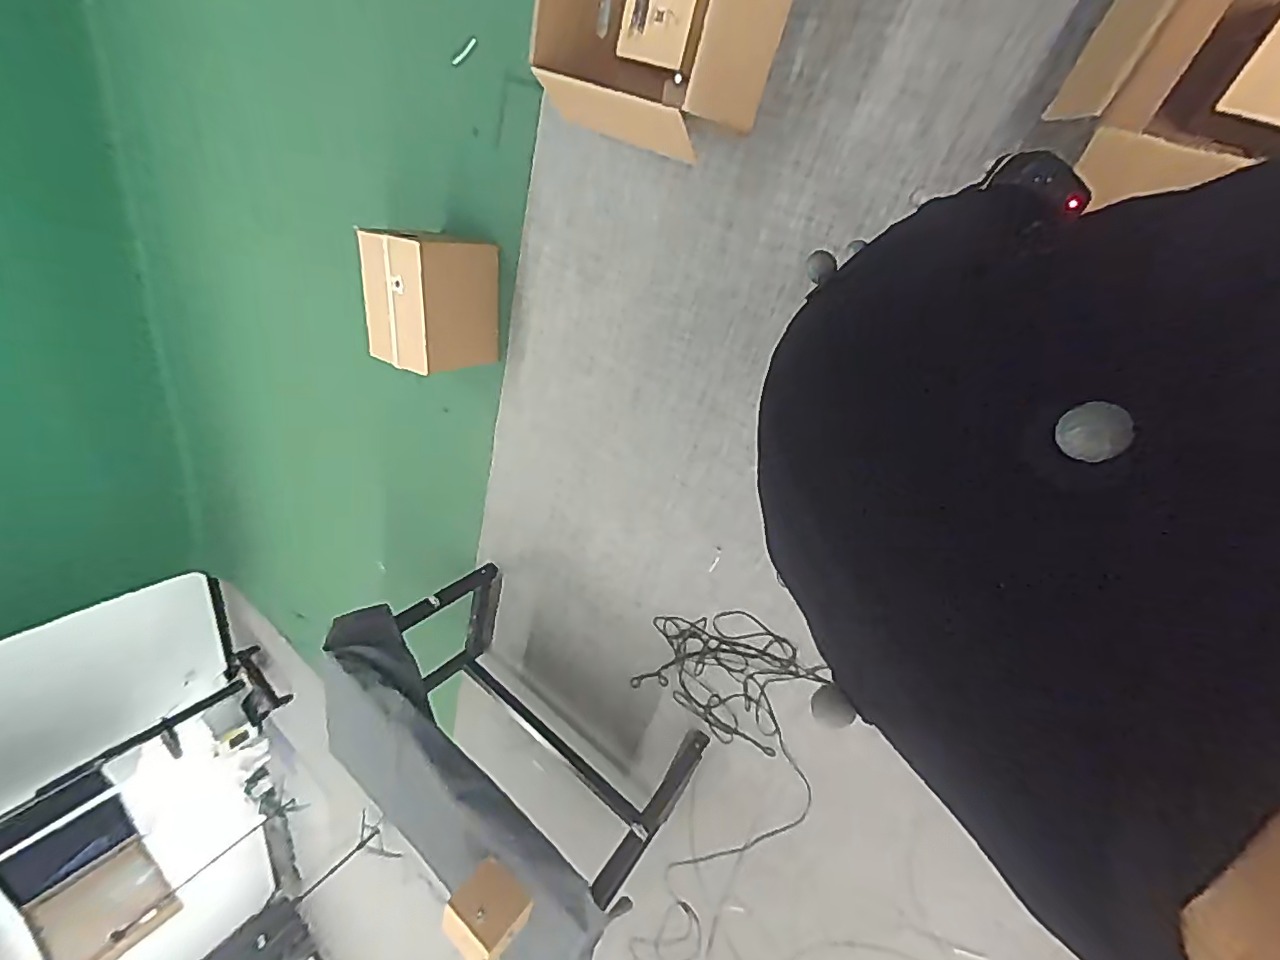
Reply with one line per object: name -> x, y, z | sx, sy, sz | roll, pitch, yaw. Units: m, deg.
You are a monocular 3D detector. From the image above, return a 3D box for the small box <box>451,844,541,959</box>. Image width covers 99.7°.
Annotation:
small box -> -0.403, 1.184, 1.522 | 0.179, 0.176, 0.168 | 31, 124, 23
